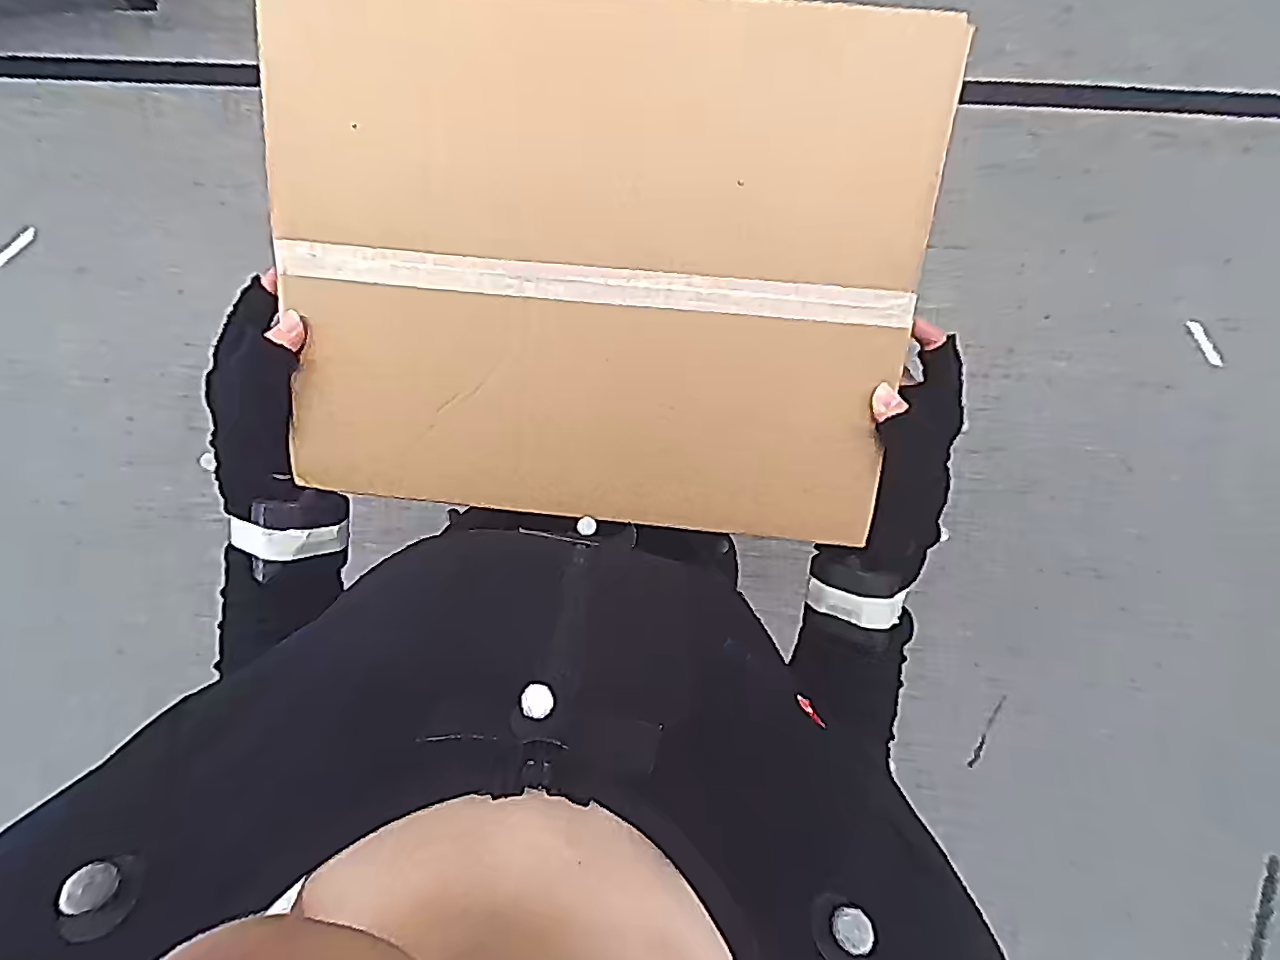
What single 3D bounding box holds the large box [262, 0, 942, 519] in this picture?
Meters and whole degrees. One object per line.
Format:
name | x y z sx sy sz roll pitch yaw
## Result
large box | -0.026 -0.174 0.491 0.408 0.320 0.320 5 105 2
